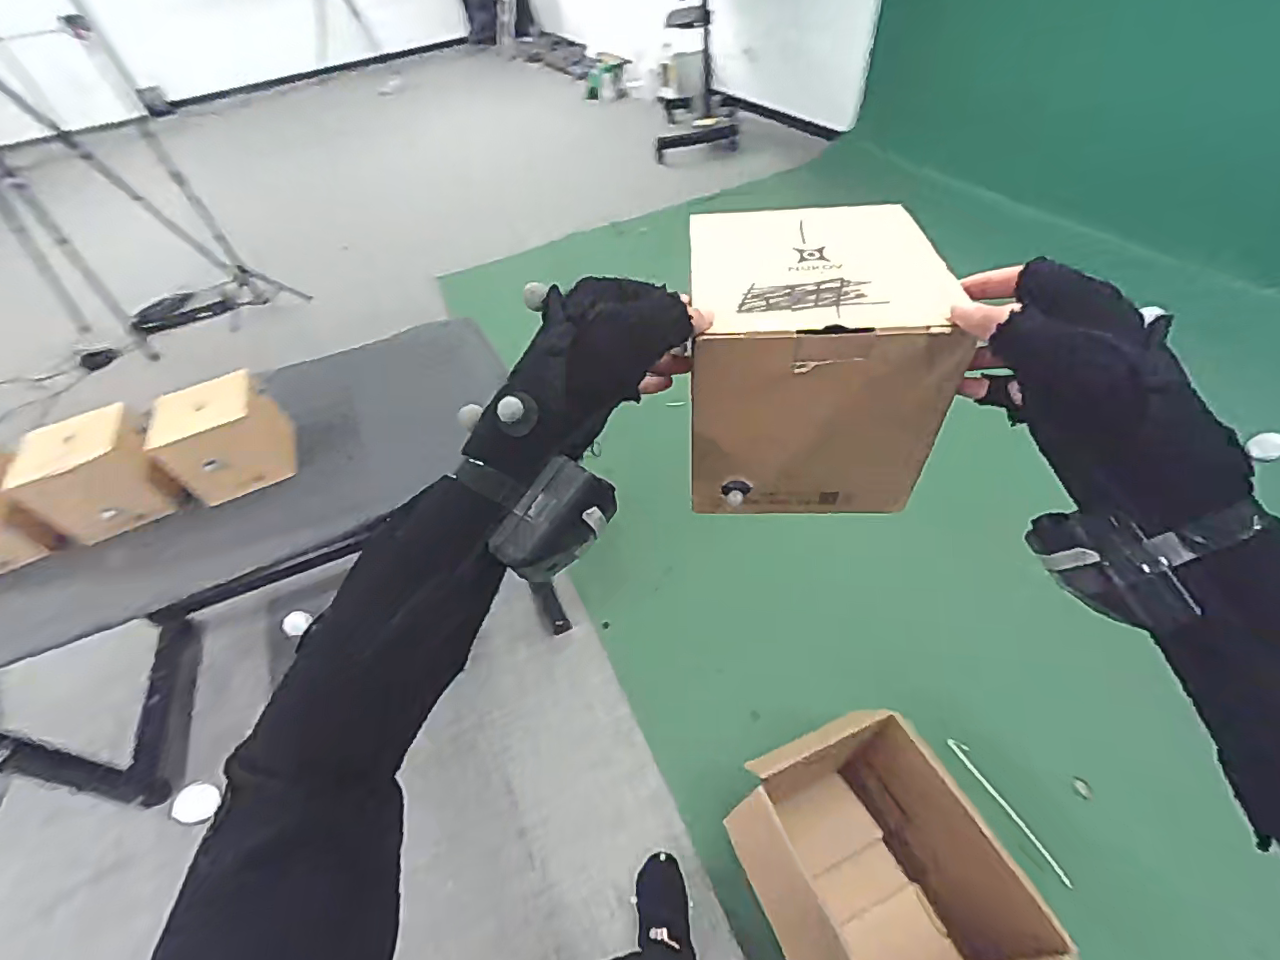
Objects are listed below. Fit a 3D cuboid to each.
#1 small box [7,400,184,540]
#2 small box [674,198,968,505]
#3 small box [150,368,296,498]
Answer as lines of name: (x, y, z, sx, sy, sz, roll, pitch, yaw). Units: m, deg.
small box: (-1.027, -0.018, 1.044, 0.168, 0.176, 0.179, -25, 50, -13)
small box: (0.112, -0.093, 0.418, 0.168, 0.176, 0.179, -2, 46, 4)
small box: (-0.816, -0.087, 1.077, 0.168, 0.176, 0.179, -24, 49, -13)
